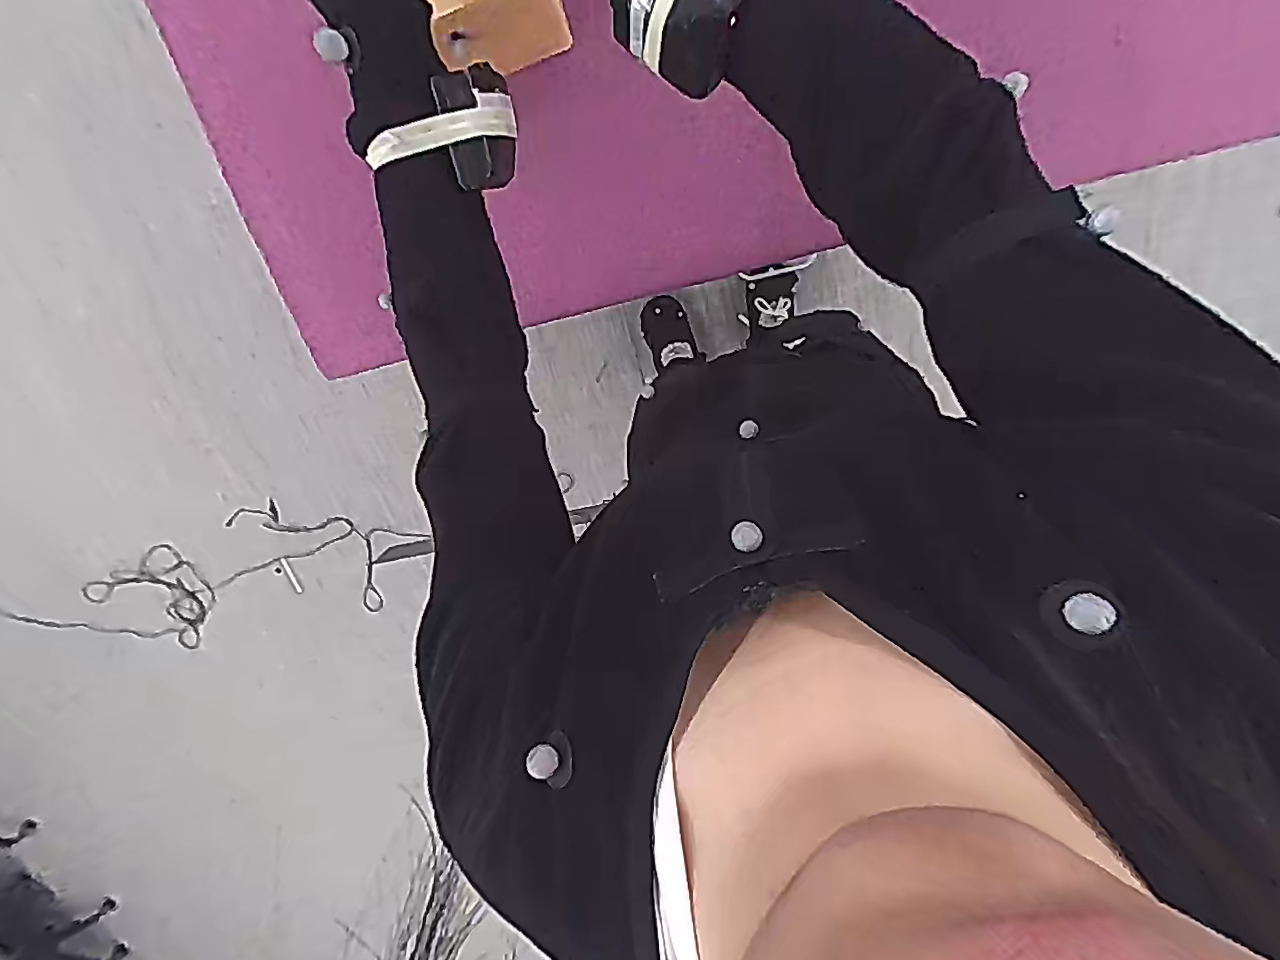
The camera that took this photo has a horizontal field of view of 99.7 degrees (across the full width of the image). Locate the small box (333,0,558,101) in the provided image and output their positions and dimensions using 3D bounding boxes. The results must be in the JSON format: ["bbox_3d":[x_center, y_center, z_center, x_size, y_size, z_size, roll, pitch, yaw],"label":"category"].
[{"bbox_3d":[-0.187,-0.493,0.504,0.179,0.176,0.168,-16,111,9],"label":"small box"}]
